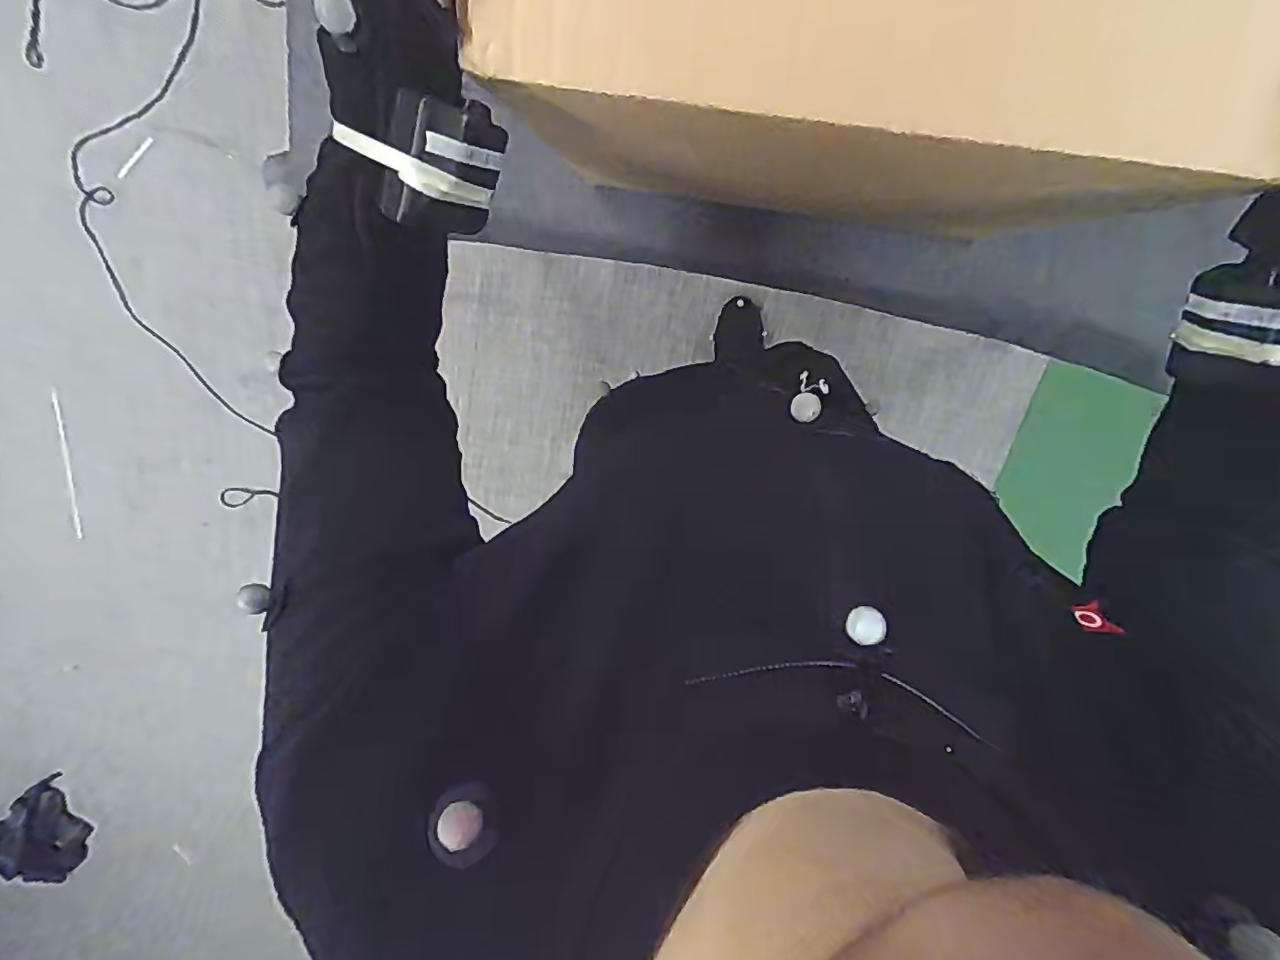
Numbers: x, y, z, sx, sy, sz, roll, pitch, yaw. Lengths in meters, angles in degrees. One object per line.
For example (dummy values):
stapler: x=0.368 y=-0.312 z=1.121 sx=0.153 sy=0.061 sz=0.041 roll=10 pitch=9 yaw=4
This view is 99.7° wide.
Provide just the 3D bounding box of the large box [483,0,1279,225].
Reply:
large box: x=0.145 y=-0.372 z=0.353 sx=0.408 sy=0.320 sz=0.320 roll=9 pitch=111 yaw=2
